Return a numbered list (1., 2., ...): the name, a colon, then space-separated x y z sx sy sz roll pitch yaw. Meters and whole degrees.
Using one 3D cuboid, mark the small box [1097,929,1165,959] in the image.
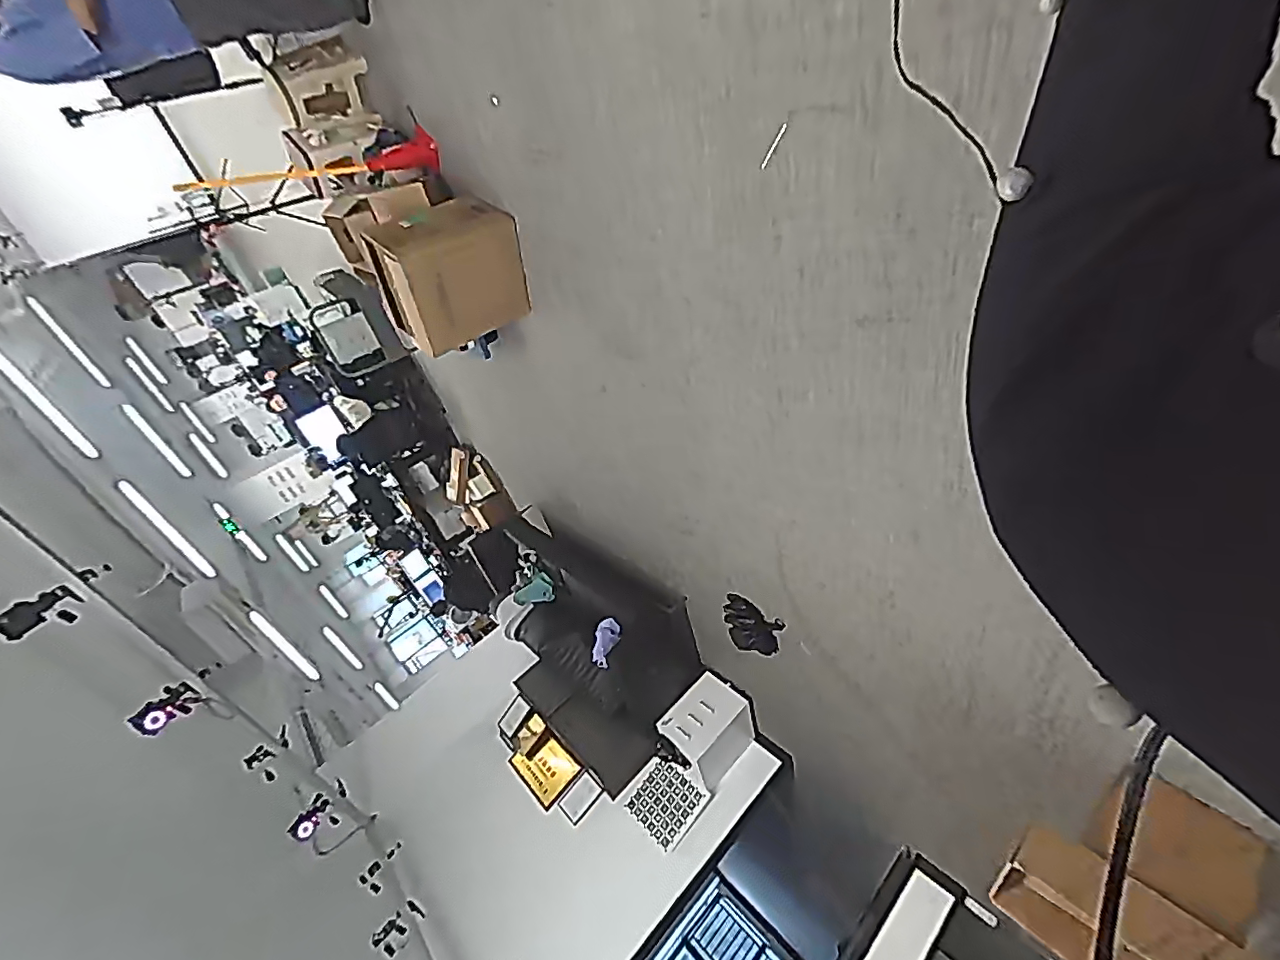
1. small box: 1.426 1.445 1.549 0.168 0.176 0.179 29 147 44
